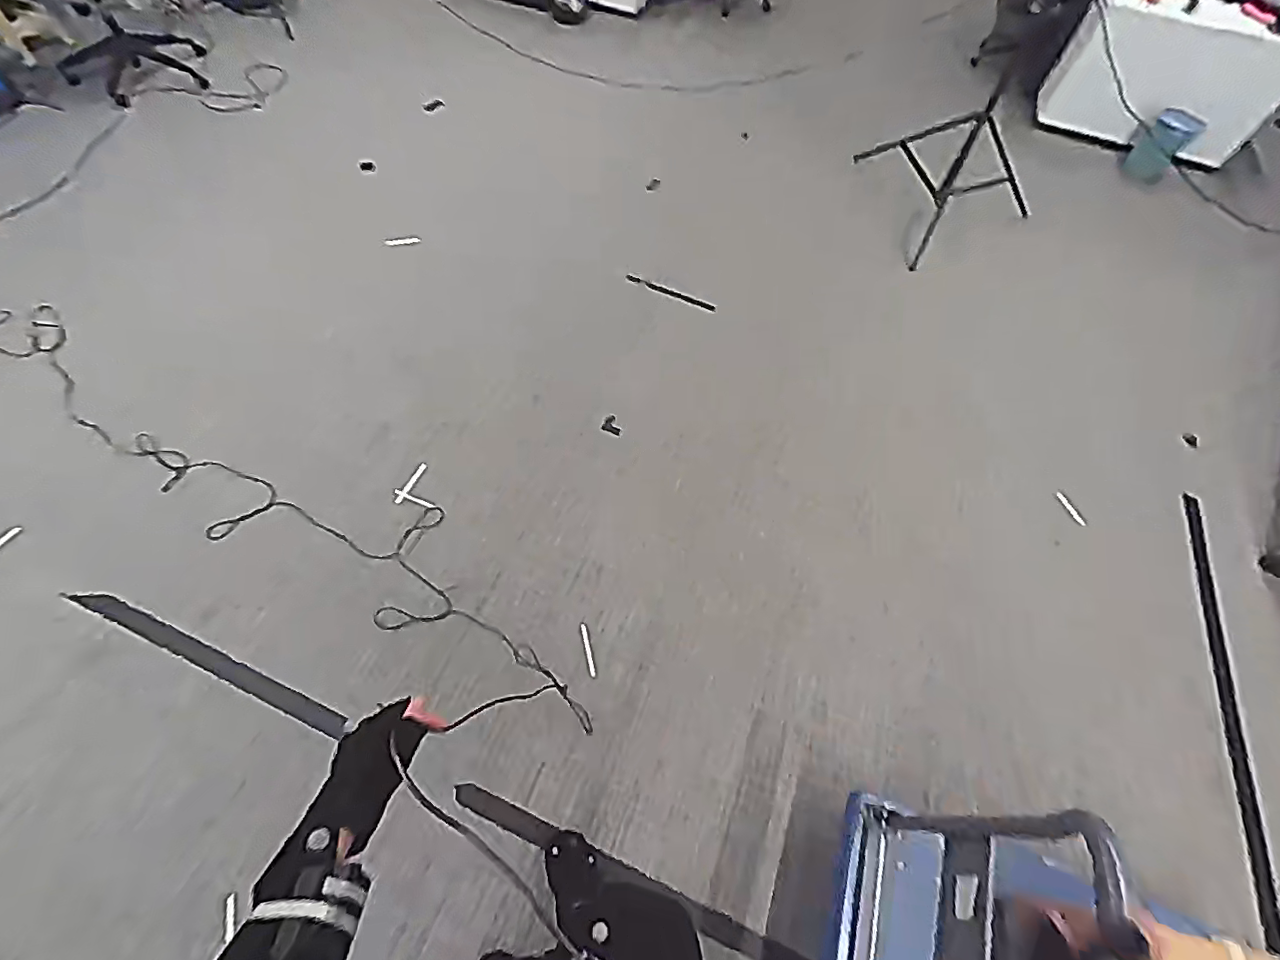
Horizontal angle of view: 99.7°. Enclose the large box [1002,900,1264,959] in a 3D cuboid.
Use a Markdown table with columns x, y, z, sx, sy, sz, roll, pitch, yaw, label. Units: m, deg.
| x | y | z | sx | sy | sz | roll | pitch | yaw | label |
| --- | --- | --- | --- | --- | --- | --- | --- | --- | --- |
| 0.836 | 0.957 | 0.846 | 0.320 | 0.320 | 0.408 | 13 | 59 | 4 | large box |
